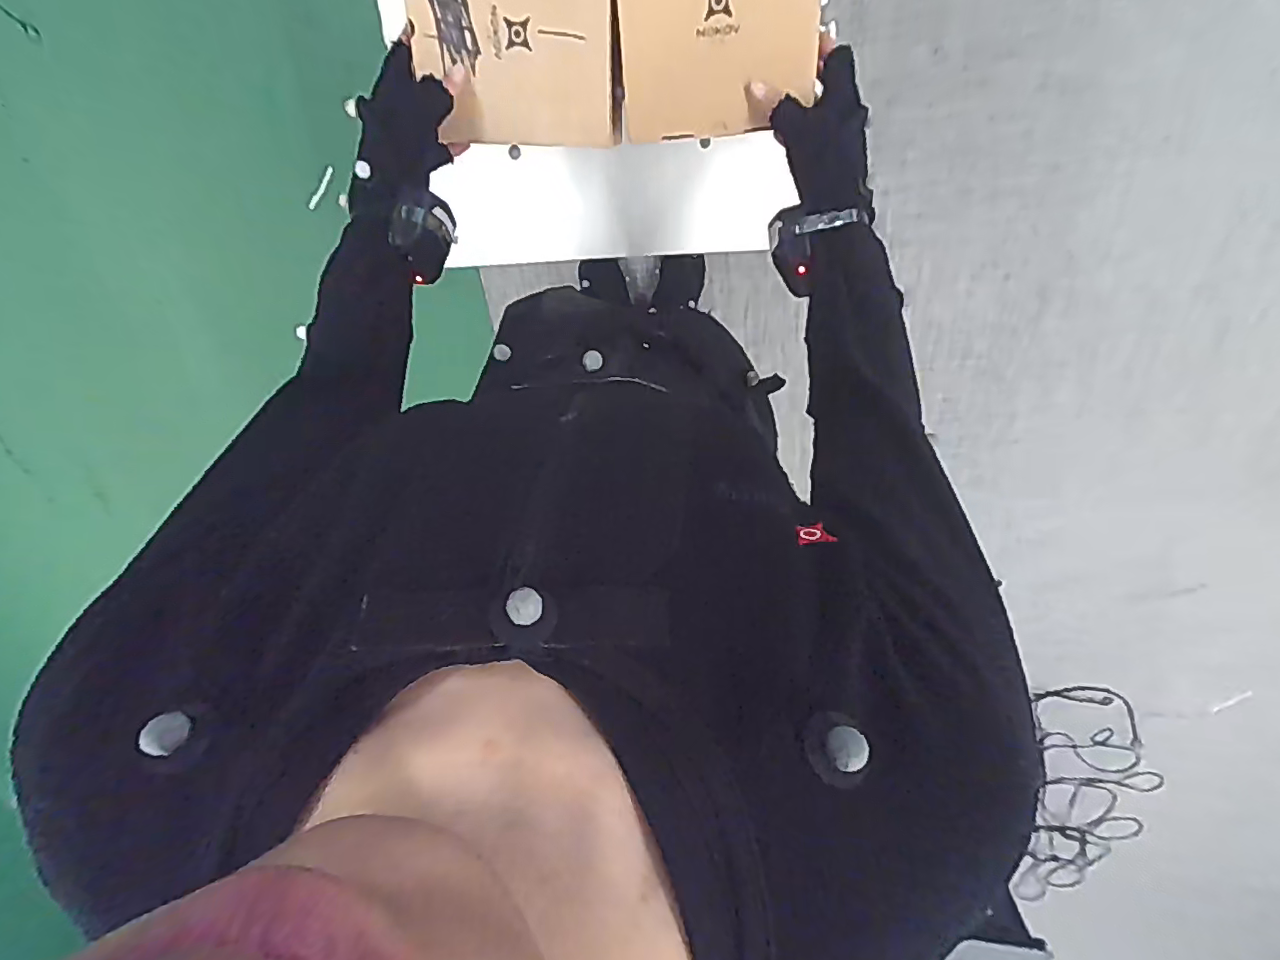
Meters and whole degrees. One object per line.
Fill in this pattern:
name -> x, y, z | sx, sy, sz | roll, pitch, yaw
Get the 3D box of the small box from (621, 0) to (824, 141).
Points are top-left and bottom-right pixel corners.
small box -> 0.073, -0.426, 0.502 | 0.168, 0.176, 0.179 | -1, 124, 8
